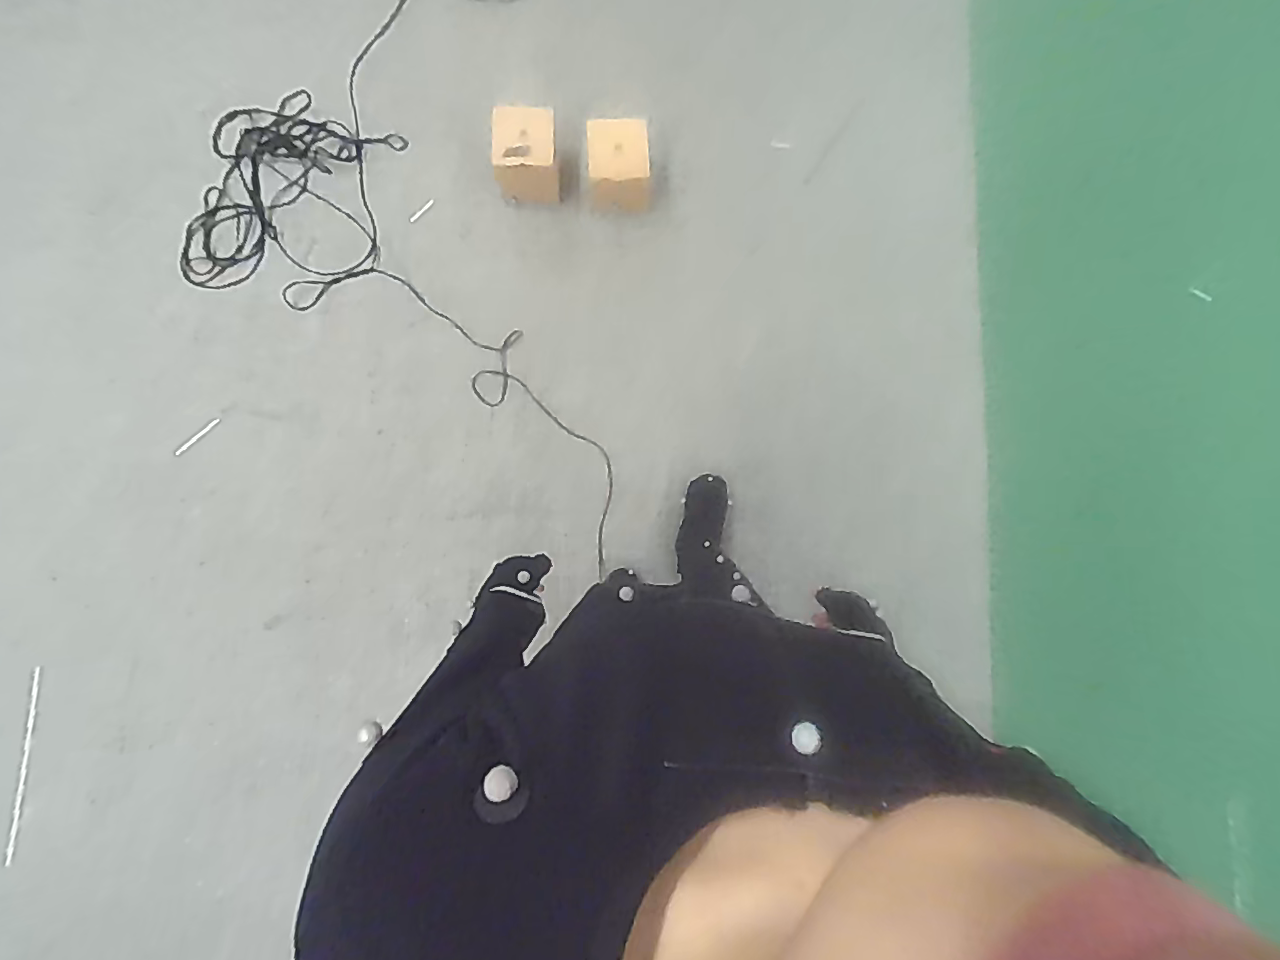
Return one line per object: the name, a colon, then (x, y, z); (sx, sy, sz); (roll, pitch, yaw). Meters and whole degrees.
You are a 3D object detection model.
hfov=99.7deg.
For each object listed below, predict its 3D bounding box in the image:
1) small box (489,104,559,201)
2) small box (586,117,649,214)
small box: (-0.319, -0.908, 1.513); (0.168, 0.176, 0.179); (0, 83, -3)
small box: (-0.065, -0.881, 1.522); (0.168, 0.176, 0.179); (-3, 85, -3)
